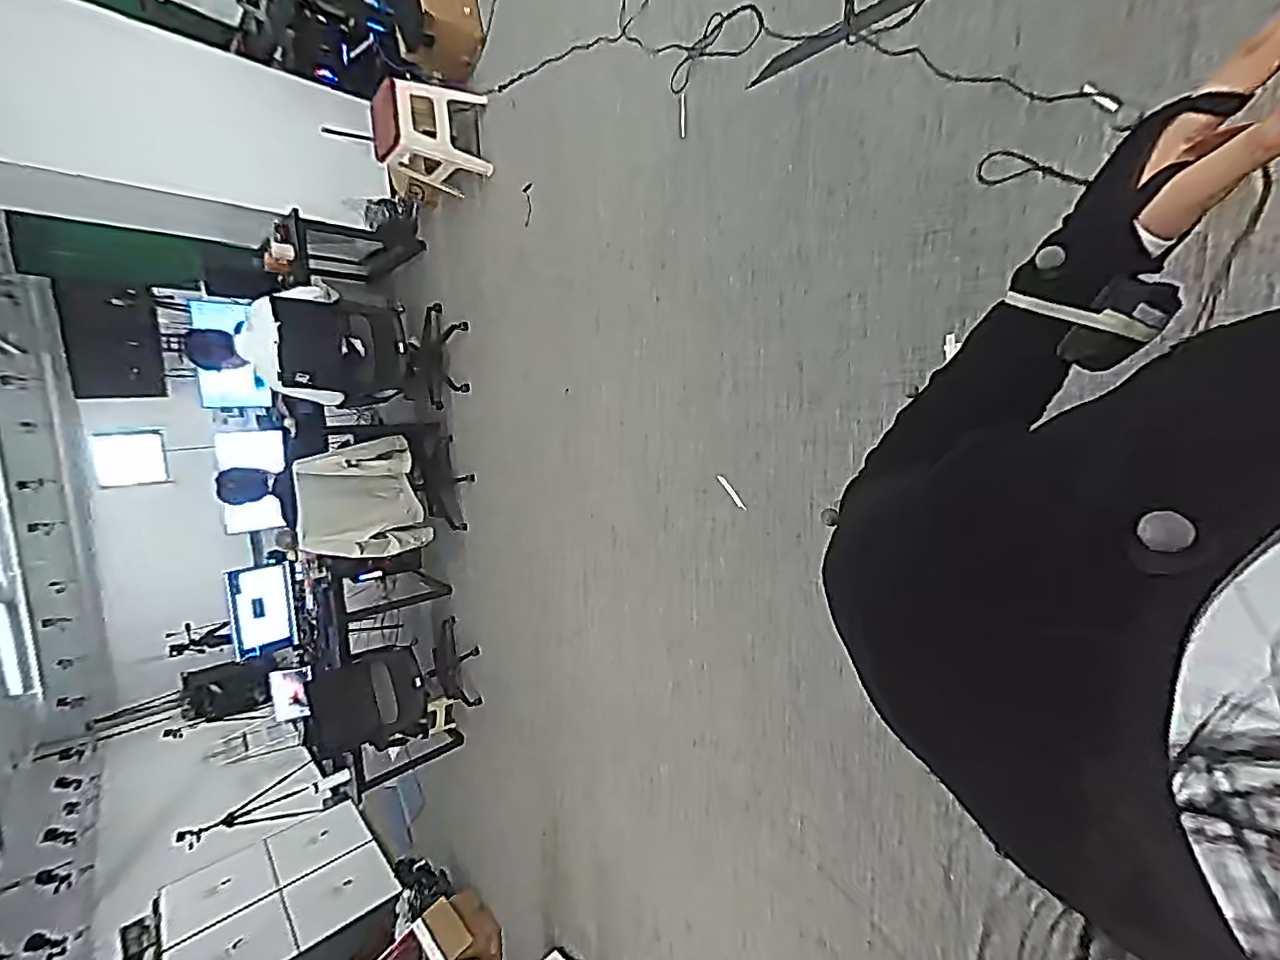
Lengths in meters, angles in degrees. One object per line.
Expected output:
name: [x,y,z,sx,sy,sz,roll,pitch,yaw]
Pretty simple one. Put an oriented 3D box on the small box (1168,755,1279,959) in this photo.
small box: [0.778,0.483,0.667,0.168,0.176,0.179,4,96,46]
